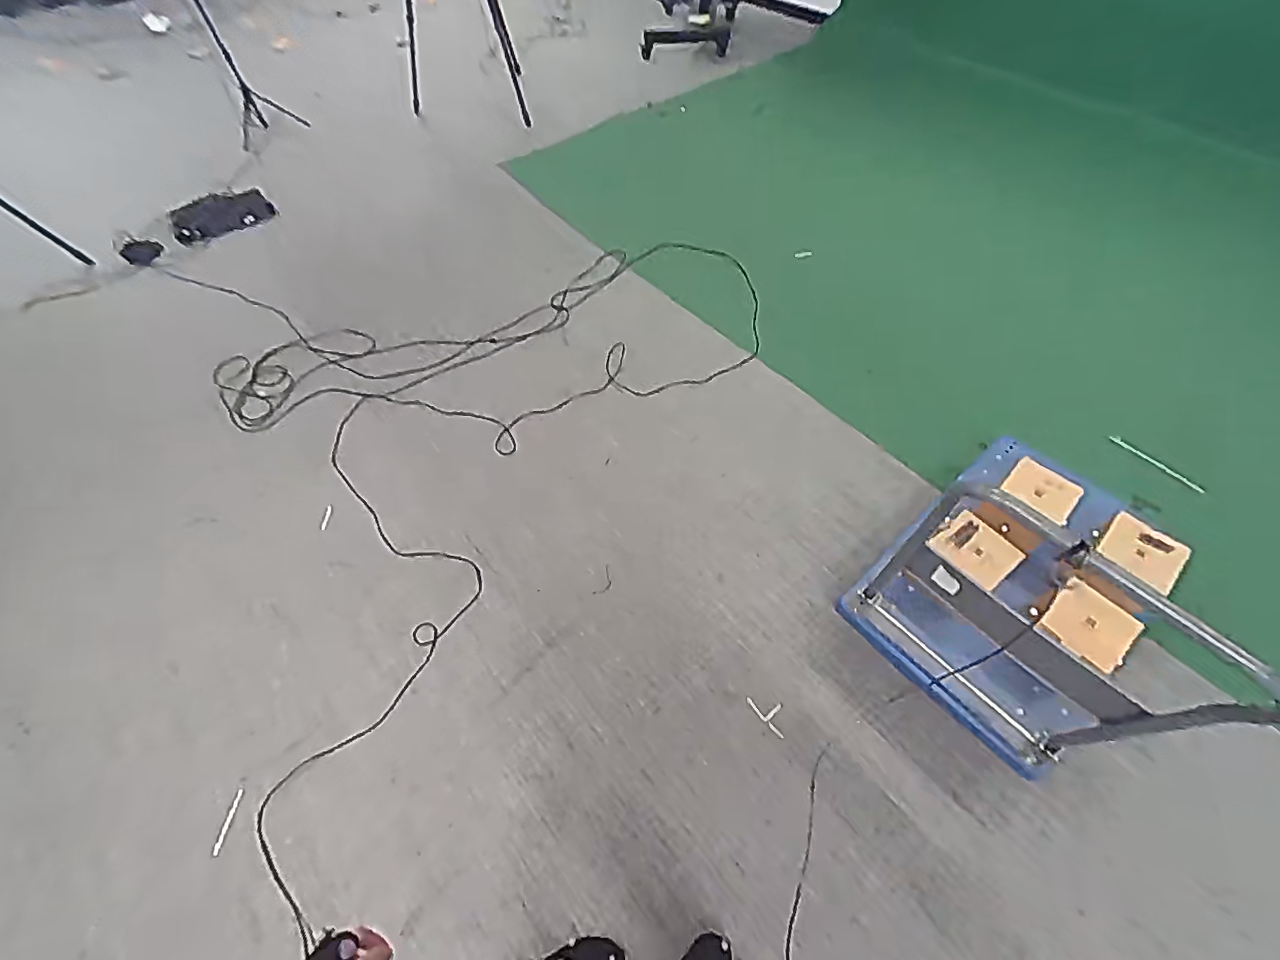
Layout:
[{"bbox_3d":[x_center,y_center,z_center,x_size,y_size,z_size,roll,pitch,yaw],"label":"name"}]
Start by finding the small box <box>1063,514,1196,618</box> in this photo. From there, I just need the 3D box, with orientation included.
[{"bbox_3d":[1.242,0.227,1.386,0.179,0.176,0.168,-41,62,-21],"label":"small box"}]

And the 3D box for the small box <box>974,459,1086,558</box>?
[{"bbox_3d":[1.064,0.084,1.492,0.179,0.176,0.168,-40,63,-22],"label":"small box"}]

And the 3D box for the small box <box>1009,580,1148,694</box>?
[{"bbox_3d":[1.037,0.378,1.295,0.179,0.176,0.168,-36,61,-19],"label":"small box"}]
